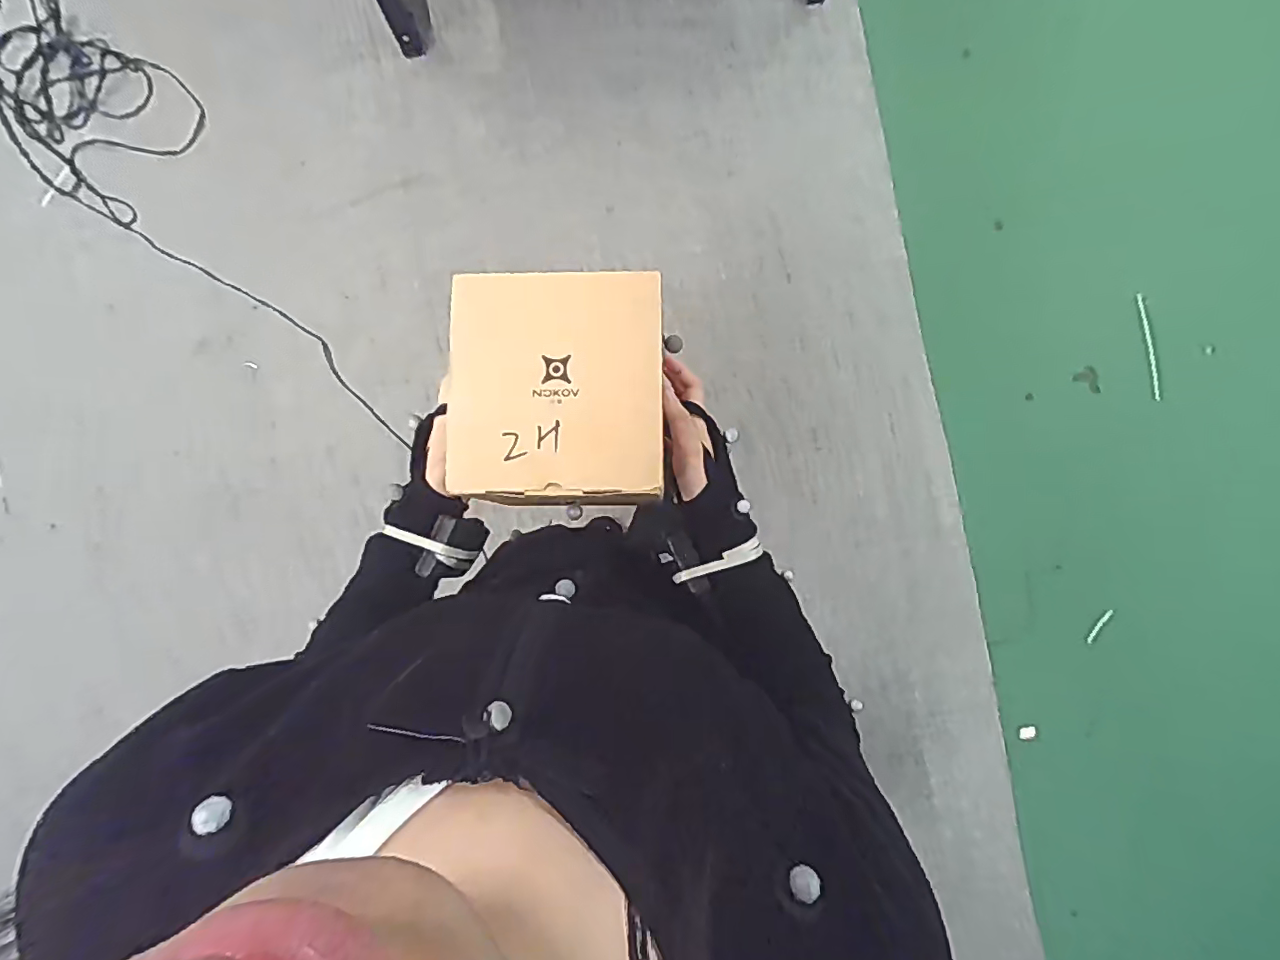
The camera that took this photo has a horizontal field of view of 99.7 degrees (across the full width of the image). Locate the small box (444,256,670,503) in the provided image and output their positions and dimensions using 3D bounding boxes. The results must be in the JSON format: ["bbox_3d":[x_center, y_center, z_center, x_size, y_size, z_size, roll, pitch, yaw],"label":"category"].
[{"bbox_3d":[-0.059,-0.074,0.479,0.168,0.176,0.179,0,84,1],"label":"small box"}]
